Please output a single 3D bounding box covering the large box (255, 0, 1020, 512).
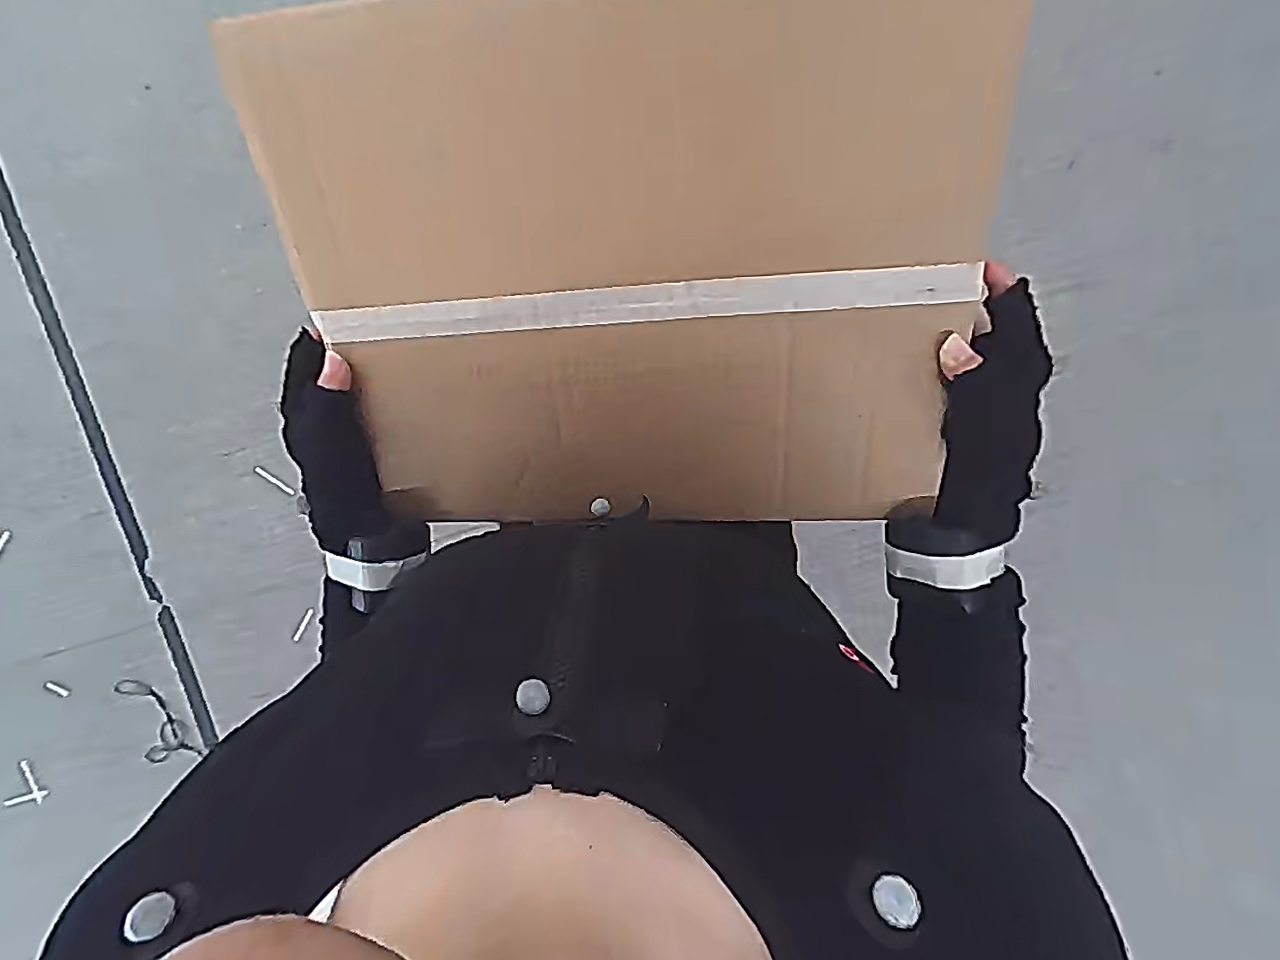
[{"bbox_3d":[0.009,-0.186,0.469,0.408,0.320,0.320,-1,121,8],"label":"large box"}]
